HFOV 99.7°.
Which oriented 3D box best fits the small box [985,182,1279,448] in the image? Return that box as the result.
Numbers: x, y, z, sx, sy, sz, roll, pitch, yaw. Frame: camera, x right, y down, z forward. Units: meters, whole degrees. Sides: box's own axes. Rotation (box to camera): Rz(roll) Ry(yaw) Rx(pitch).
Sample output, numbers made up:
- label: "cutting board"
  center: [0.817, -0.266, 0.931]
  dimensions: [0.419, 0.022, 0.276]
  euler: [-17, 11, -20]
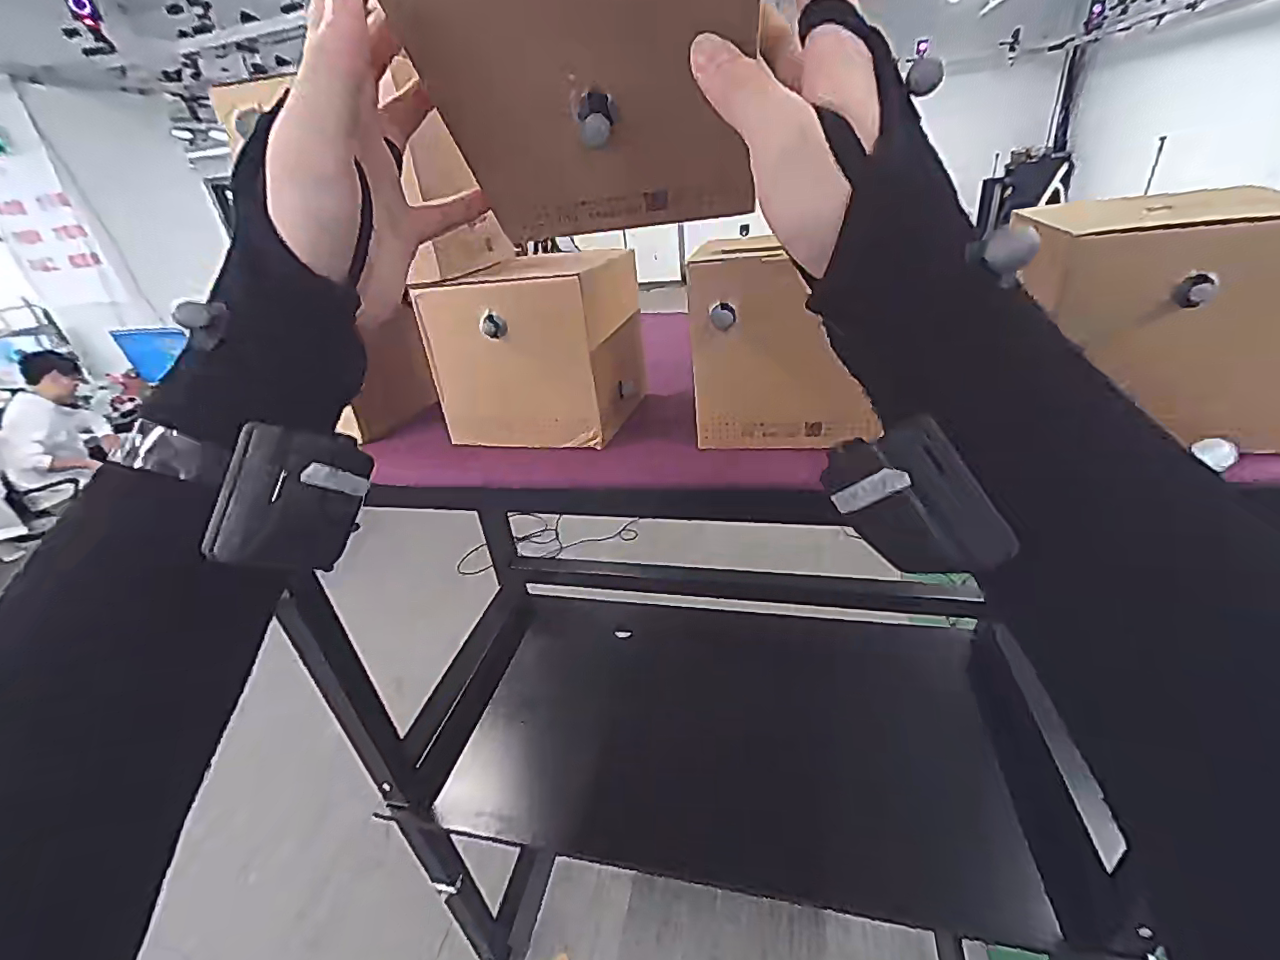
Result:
- label: "small box"
  center: [0.405, -0.135, 0.445]
  dimensions: [0.179, 0.176, 0.168]
  euler: [2, 32, 19]

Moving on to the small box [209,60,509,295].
- label: "small box"
  center: [-0.255, -0.285, 0.536]
  dimensions: [0.179, 0.176, 0.168]
  euler: [1, 29, 13]

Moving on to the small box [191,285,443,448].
- label: "small box"
  center: [-0.368, -0.147, 0.654]
  dimensions: [0.168, 0.176, 0.179]
  euler: [3, 29, 18]

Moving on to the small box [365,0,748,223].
- label: "small box"
  center: [-0.026, -0.272, 0.308]
  dimensions: [0.168, 0.176, 0.179]
  euler: [-2, 69, 11]
